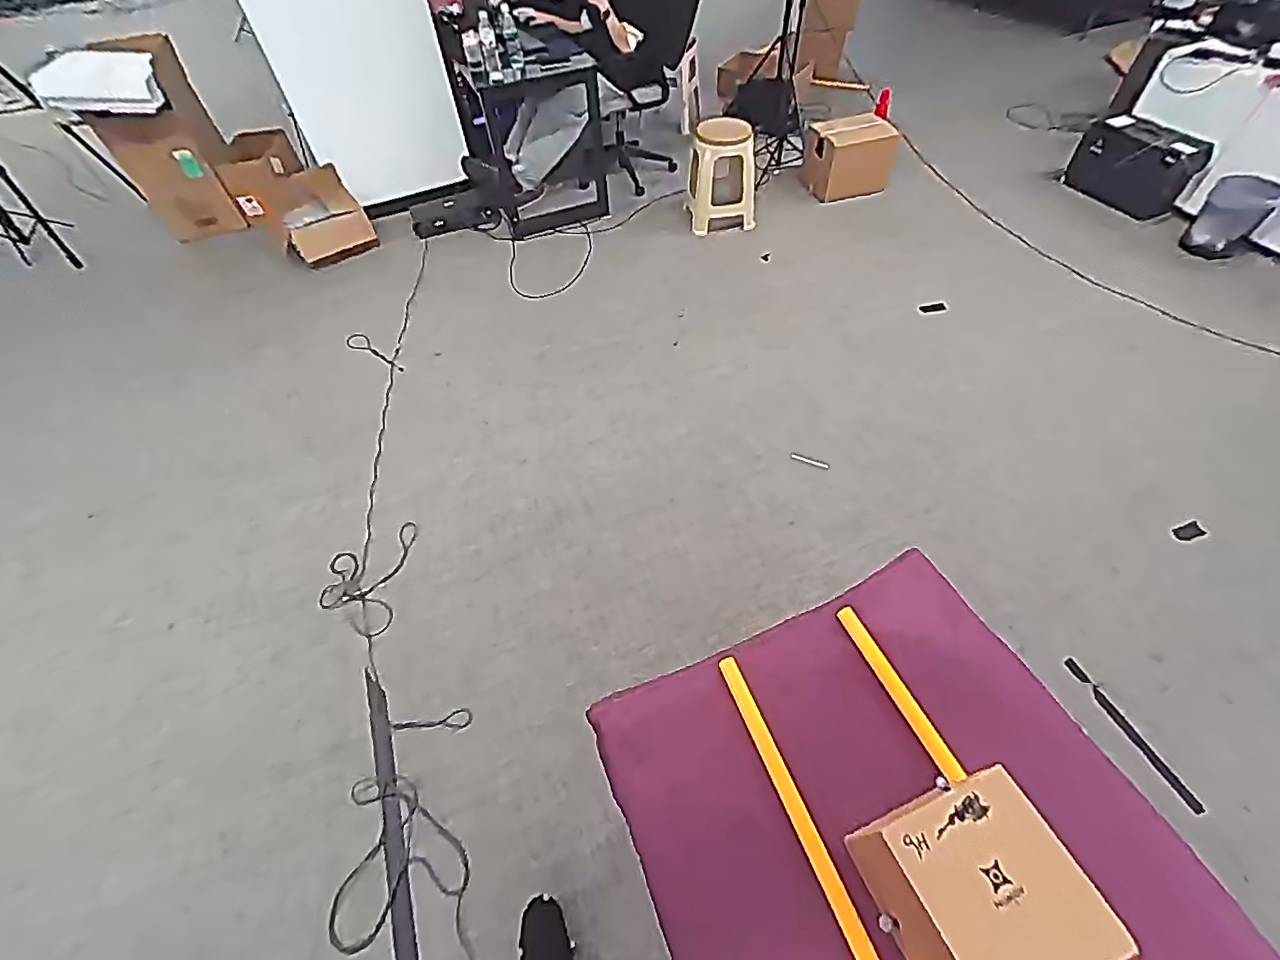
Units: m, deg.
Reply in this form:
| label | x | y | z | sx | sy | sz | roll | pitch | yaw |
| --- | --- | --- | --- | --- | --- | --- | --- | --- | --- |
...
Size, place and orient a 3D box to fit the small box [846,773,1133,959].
| label | x | y | z | sx | sy | sz | roll | pitch | yaw |
| --- | --- | --- | --- | --- | --- | --- | --- | --- | --- |
| small box | 0.365 | 0.460 | 0.606 | 0.168 | 0.176 | 0.179 | -19 | 55 | -11 |
